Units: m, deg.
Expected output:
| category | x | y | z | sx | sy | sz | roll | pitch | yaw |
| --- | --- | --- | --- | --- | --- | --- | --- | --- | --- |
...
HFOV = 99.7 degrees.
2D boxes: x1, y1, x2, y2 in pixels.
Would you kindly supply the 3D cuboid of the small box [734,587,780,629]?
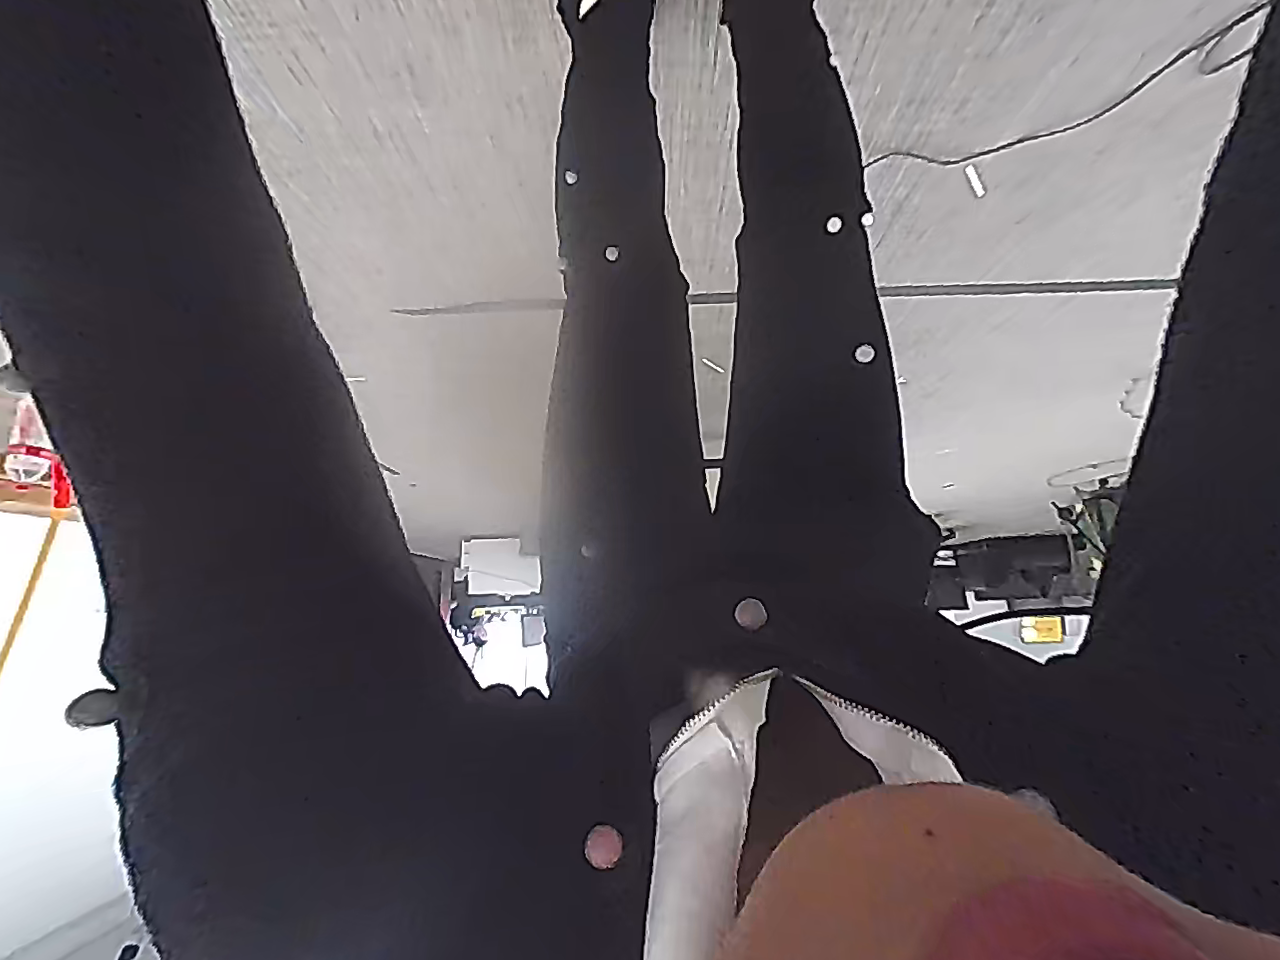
| category | x | y | z | sx | sy | sz | roll | pitch | yaw |
| --- | --- | --- | --- | --- | --- | --- | --- | --- | --- |
| small box | 0.497 | 0.546 | 2.307 | 0.168 | 0.176 | 0.179 | -3 | 166 | 3 |
